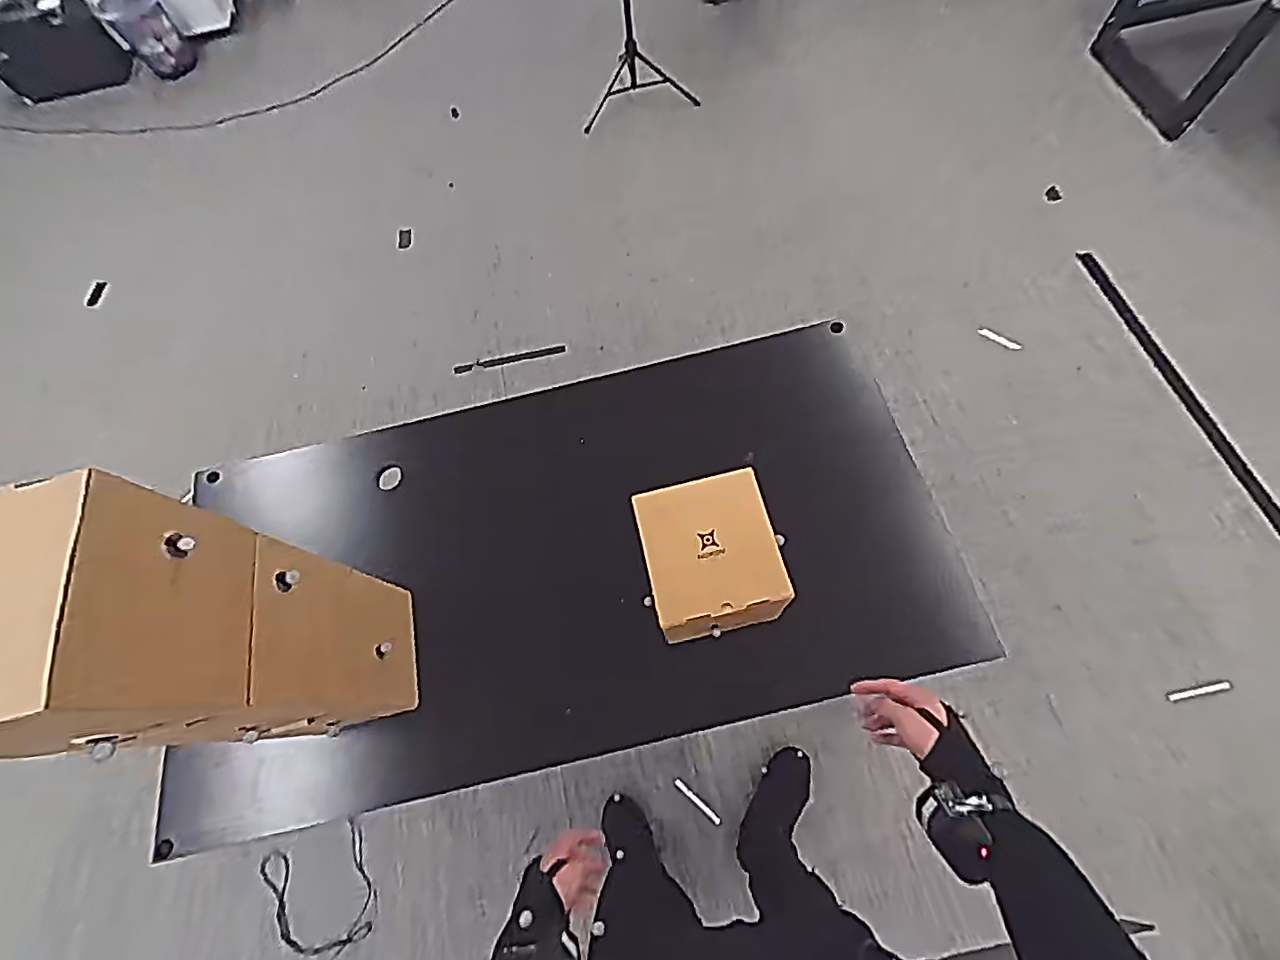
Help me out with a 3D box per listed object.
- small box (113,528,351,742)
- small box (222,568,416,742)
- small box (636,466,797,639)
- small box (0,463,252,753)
[{"bbox_3d":[-0.440,0.175,0.588,0.168,0.176,0.179,-15,67,0],"label":"small box"},{"bbox_3d":[-0.425,0.239,0.739,0.168,0.176,0.179,-15,68,-1],"label":"small box"},{"bbox_3d":[0.095,0.107,0.743,0.168,0.176,0.179,-14,67,0],"label":"small box"},{"bbox_3d":[-0.454,0.113,0.438,0.168,0.176,0.179,-15,67,0],"label":"small box"}]
